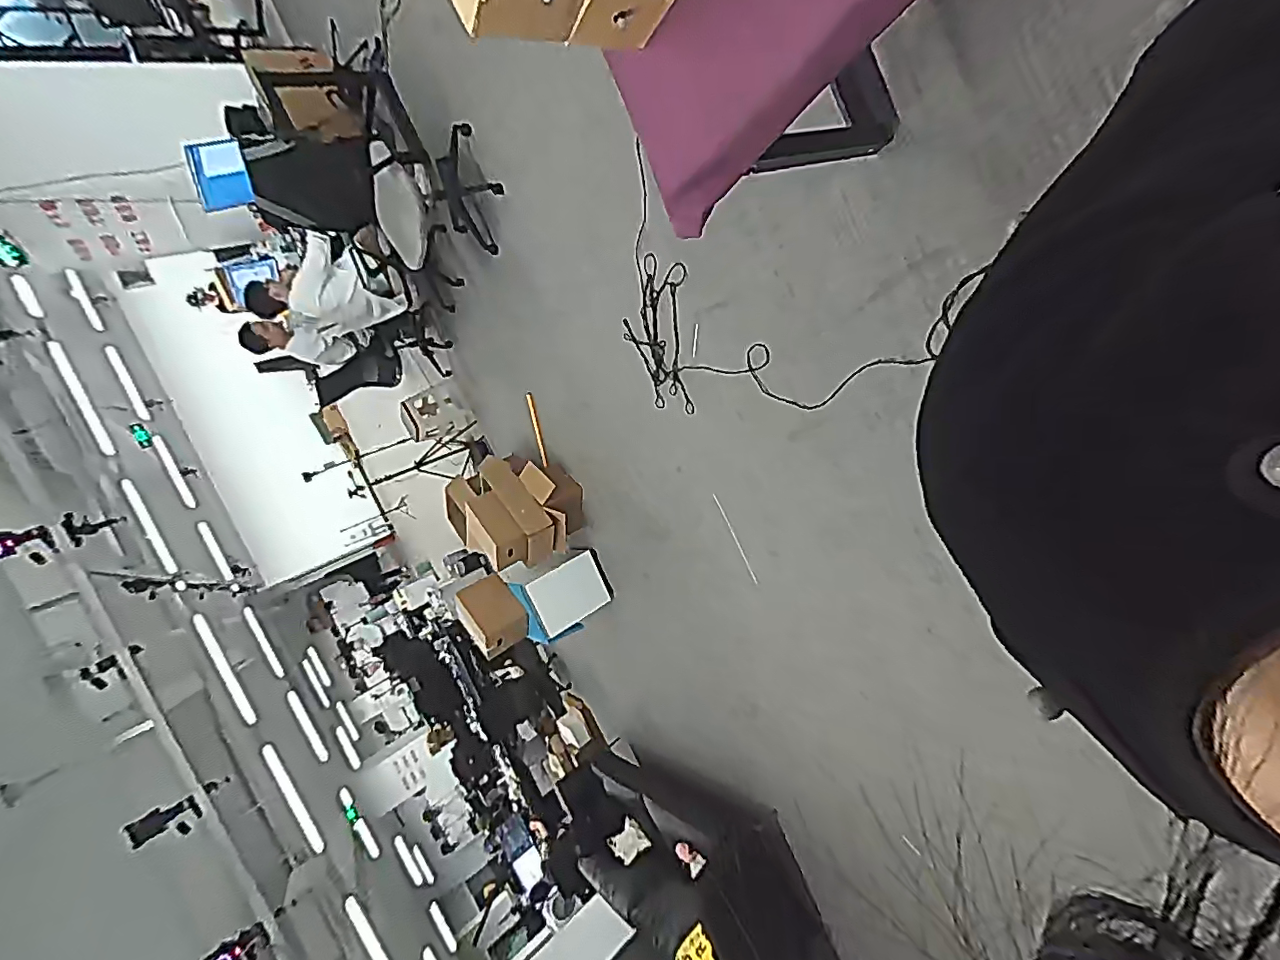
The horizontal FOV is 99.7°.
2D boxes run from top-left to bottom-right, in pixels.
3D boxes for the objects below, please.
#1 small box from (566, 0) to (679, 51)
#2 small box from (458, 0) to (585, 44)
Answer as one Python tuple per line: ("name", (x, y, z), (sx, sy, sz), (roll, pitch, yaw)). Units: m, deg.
("small box", (-0.037, -0.807, 0.828), (0.168, 0.176, 0.179), (-13, 101, 59))
("small box", (-0.167, -0.751, 0.744), (0.168, 0.176, 0.179), (-23, 93, 59))
